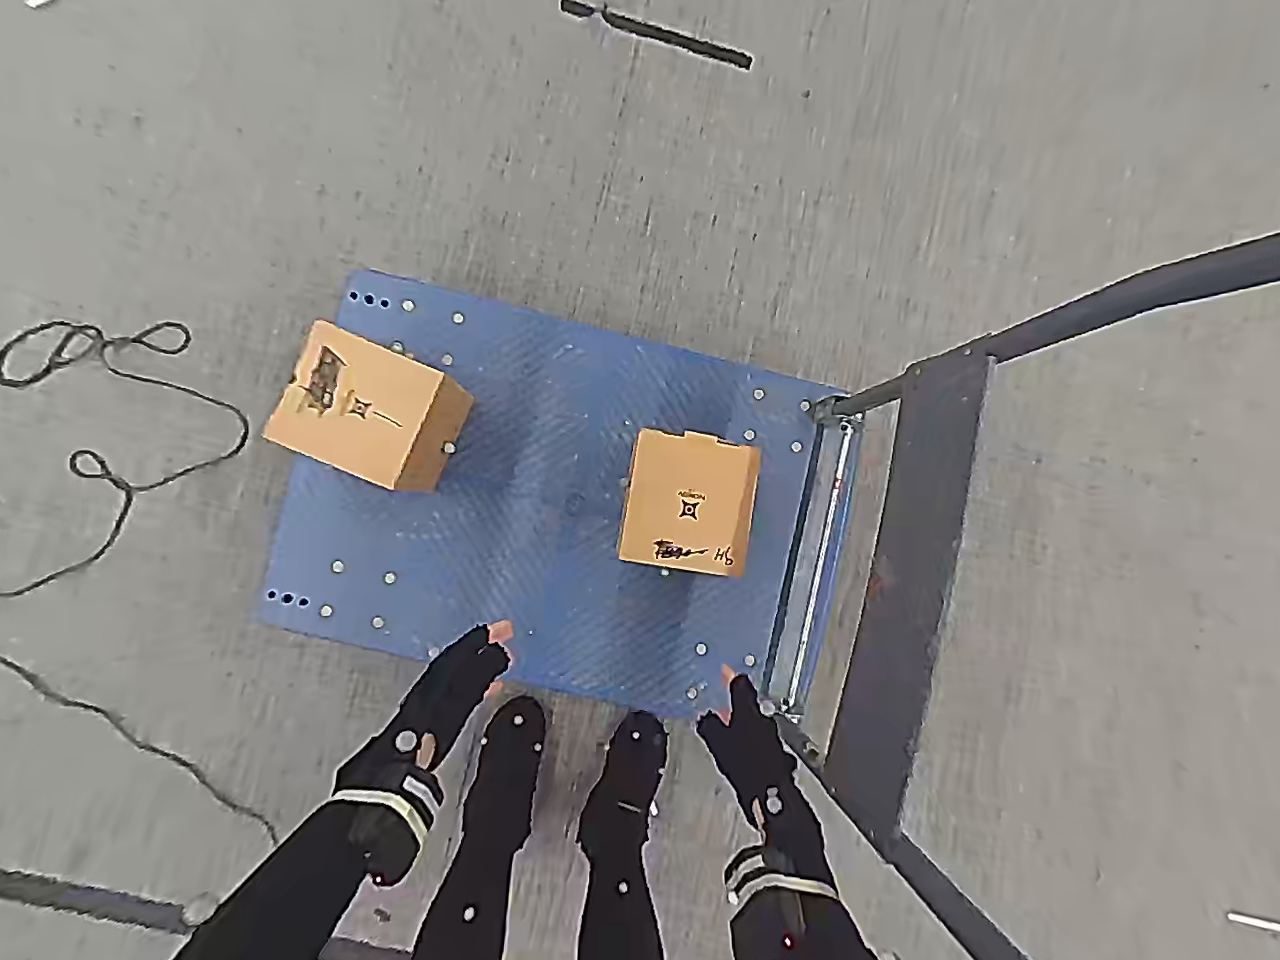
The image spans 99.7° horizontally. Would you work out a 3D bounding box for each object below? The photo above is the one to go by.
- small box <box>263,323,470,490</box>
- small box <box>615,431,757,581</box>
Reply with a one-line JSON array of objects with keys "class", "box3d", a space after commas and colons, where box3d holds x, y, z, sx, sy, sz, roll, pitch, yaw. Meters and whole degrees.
[{"class": "small box", "box3d": [-0.368, -0.089, 0.765, 0.179, 0.176, 0.168, 24, 86, -3]}, {"class": "small box", "box3d": [0.057, 0.040, 0.787, 0.168, 0.176, 0.179, 10, 85, -3]}]
